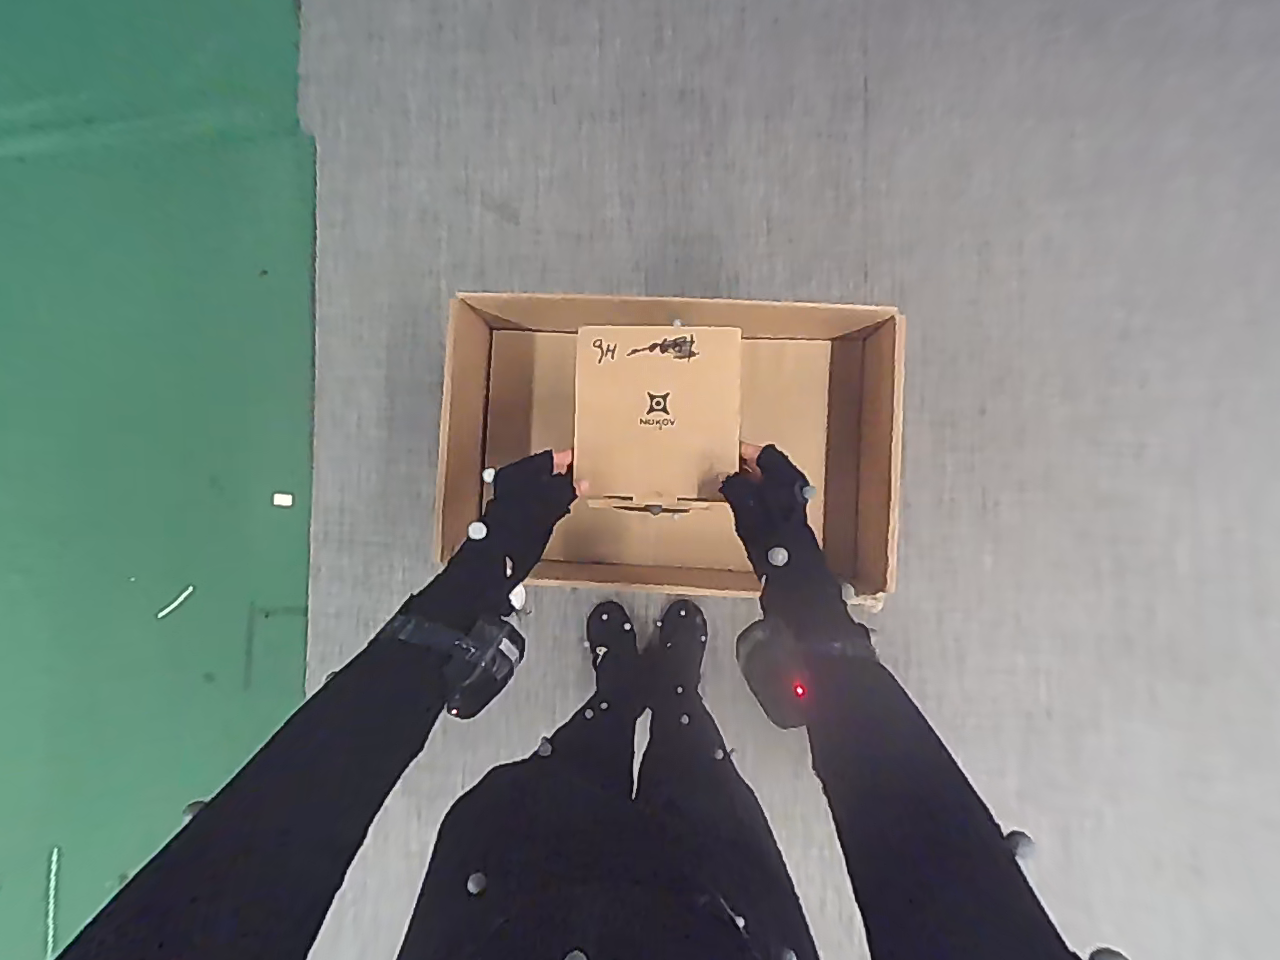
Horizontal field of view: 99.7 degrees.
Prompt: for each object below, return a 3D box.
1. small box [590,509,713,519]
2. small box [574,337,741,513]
[{"bbox_3d":[0.022,-0.034,0.786,0.168,0.176,0.179,1,86,2],"label":"small box"},{"bbox_3d":[0.022,-0.055,0.622,0.168,0.176,0.179,1,88,3],"label":"small box"}]
